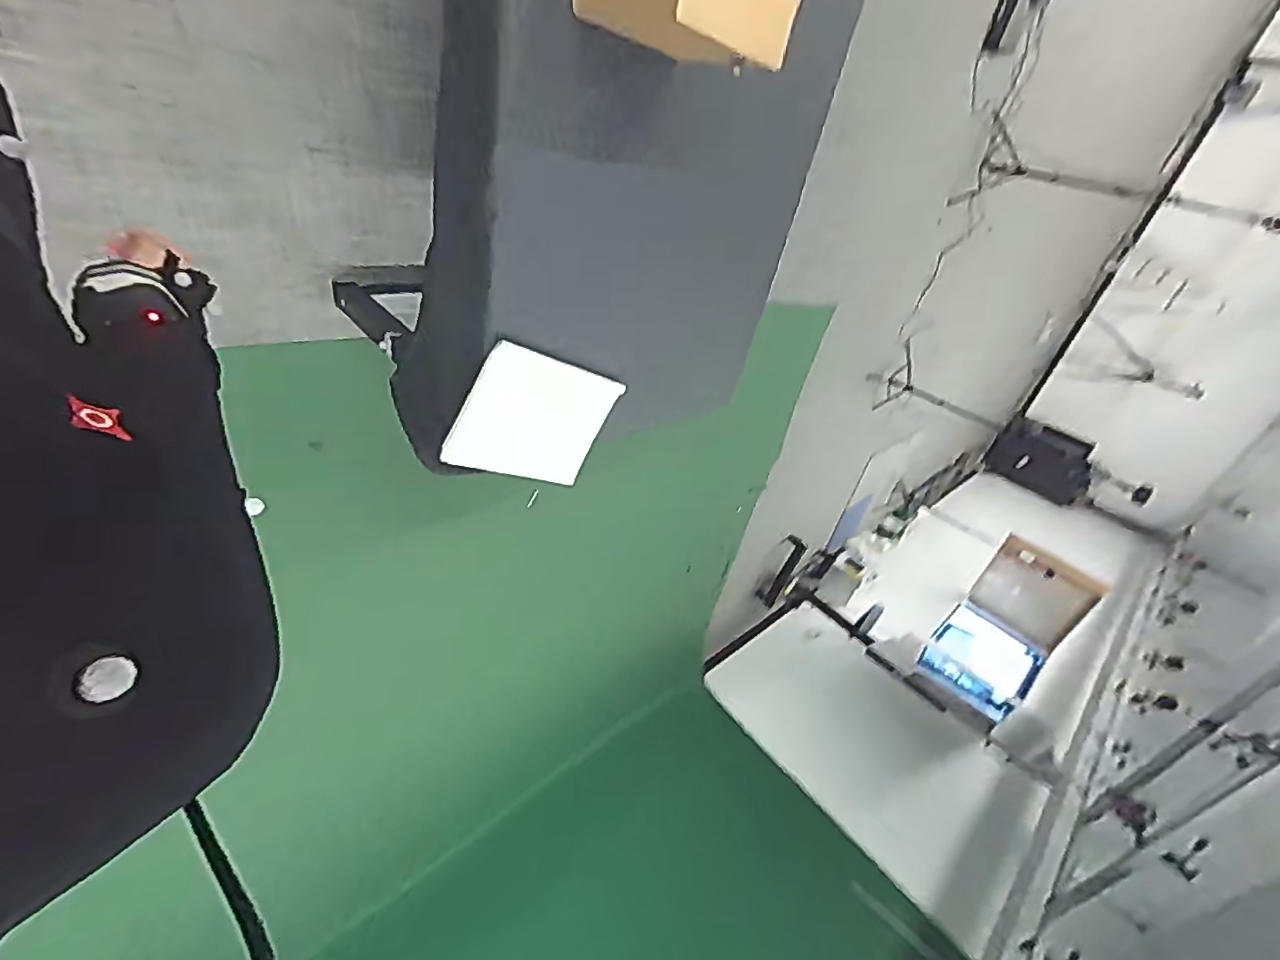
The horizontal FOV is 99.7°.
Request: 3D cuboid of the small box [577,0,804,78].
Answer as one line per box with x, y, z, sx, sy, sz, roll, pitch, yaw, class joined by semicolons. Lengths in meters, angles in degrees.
0.058;-0.534;0.547;0.179;0.176;0.168;-18;134;-42;small box
